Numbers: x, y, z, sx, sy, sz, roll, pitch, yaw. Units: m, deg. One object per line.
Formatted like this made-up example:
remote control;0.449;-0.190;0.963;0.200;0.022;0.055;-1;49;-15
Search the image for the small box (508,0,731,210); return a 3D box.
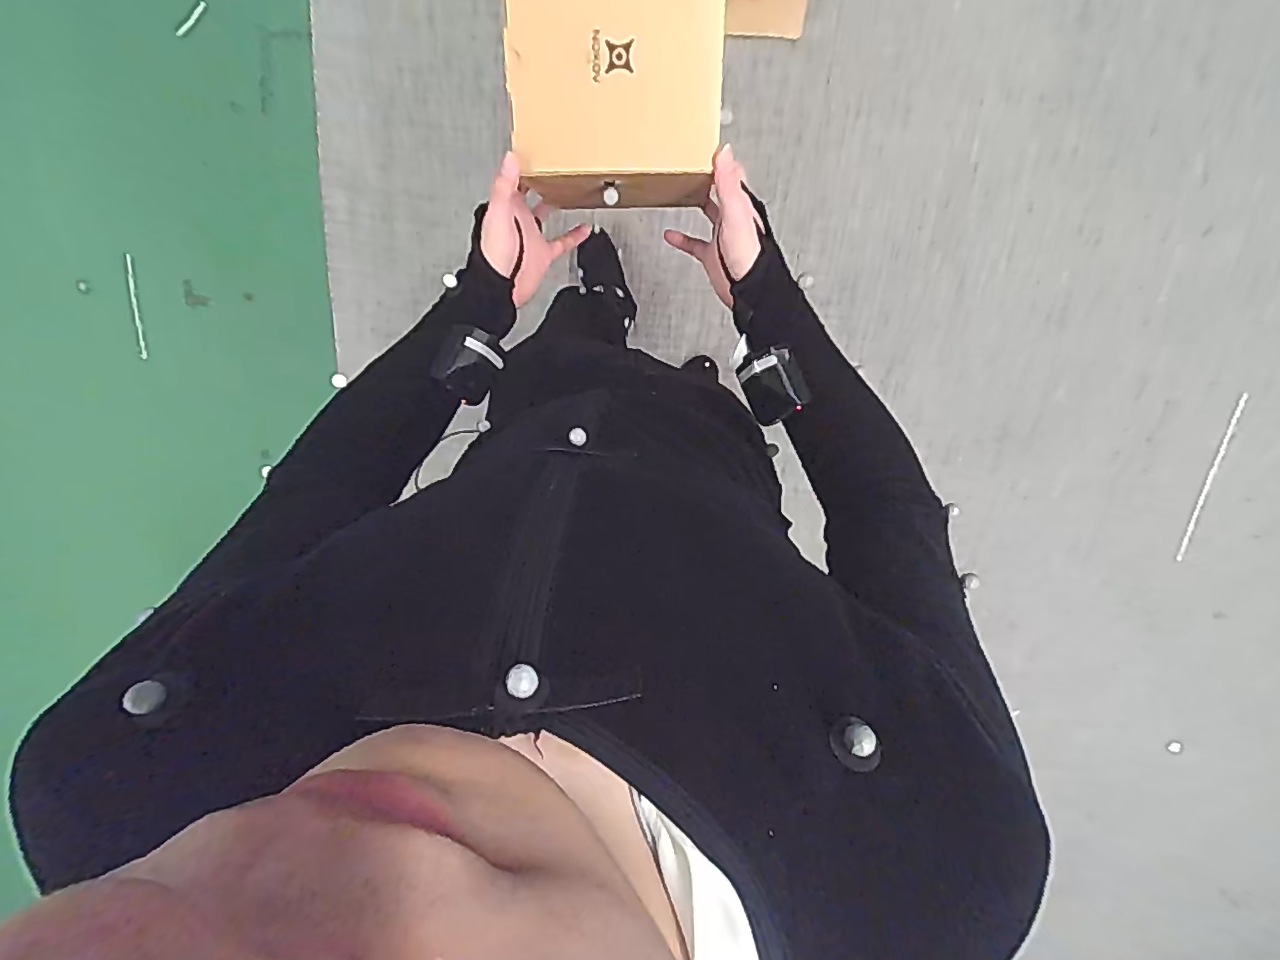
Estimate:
small box;-0.012;-0.359;0.507;0.179;0.176;0.168;1;108;4
